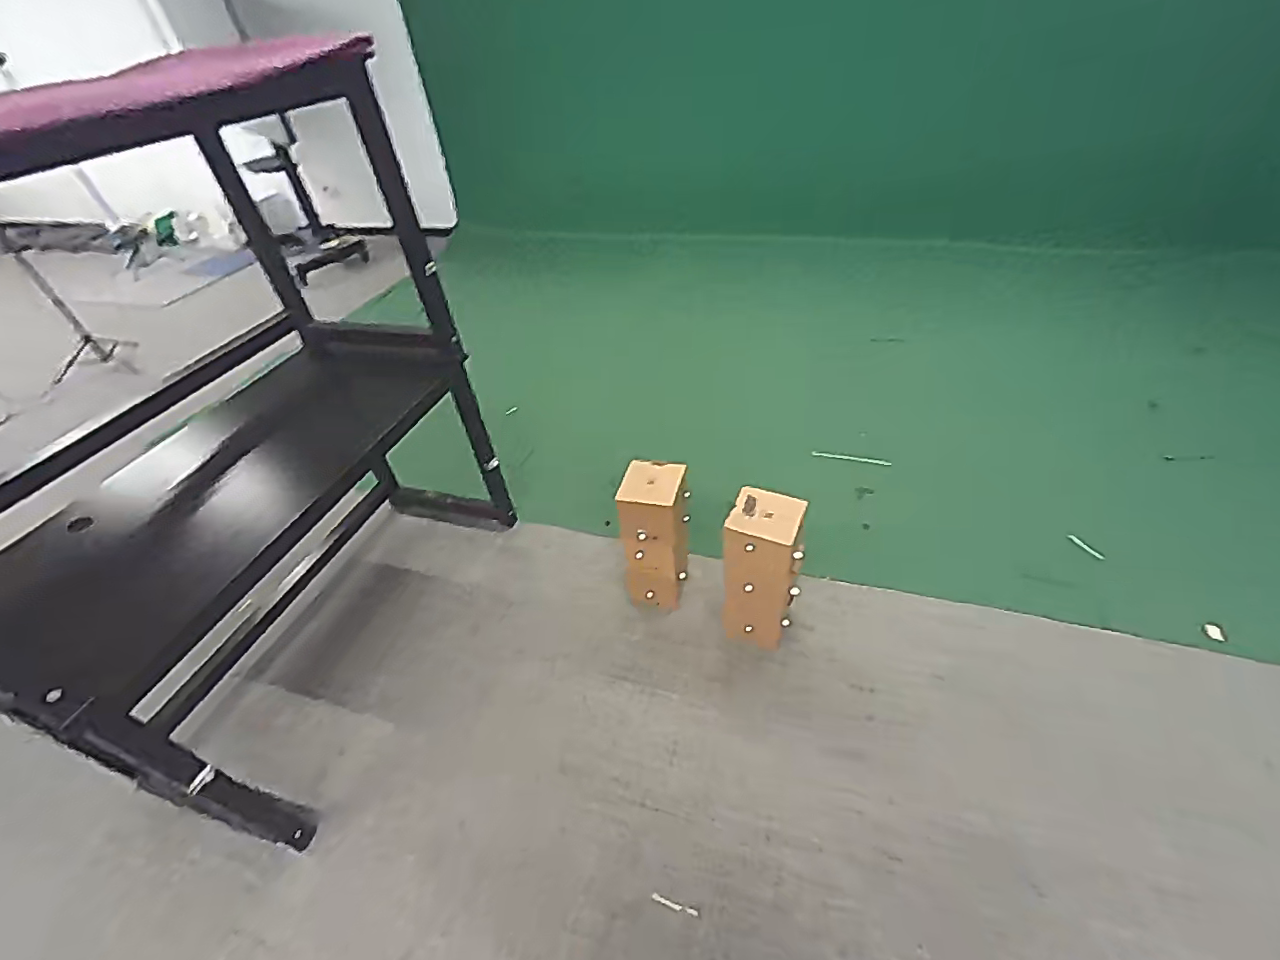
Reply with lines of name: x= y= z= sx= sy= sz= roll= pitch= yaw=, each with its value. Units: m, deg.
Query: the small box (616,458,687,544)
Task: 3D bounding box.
small box: x=0.040 y=0.059 z=1.564 sx=0.168 sy=0.176 sz=0.179 roll=5 pitch=44 yaw=15

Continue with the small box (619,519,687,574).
small box: x=0.048 y=0.169 z=1.686 sx=0.168 sy=0.176 sz=0.179 roll=8 pitch=43 yaw=16

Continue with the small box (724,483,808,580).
small box: x=0.330 y=0.139 z=1.433 sx=0.179 sy=0.176 sz=0.168 roll=16 pitch=47 yaw=22

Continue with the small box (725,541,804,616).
small box: x=0.352 y=0.259 z=1.542 sx=0.179 sy=0.176 sz=0.168 roll=17 pitch=48 yaw=24
